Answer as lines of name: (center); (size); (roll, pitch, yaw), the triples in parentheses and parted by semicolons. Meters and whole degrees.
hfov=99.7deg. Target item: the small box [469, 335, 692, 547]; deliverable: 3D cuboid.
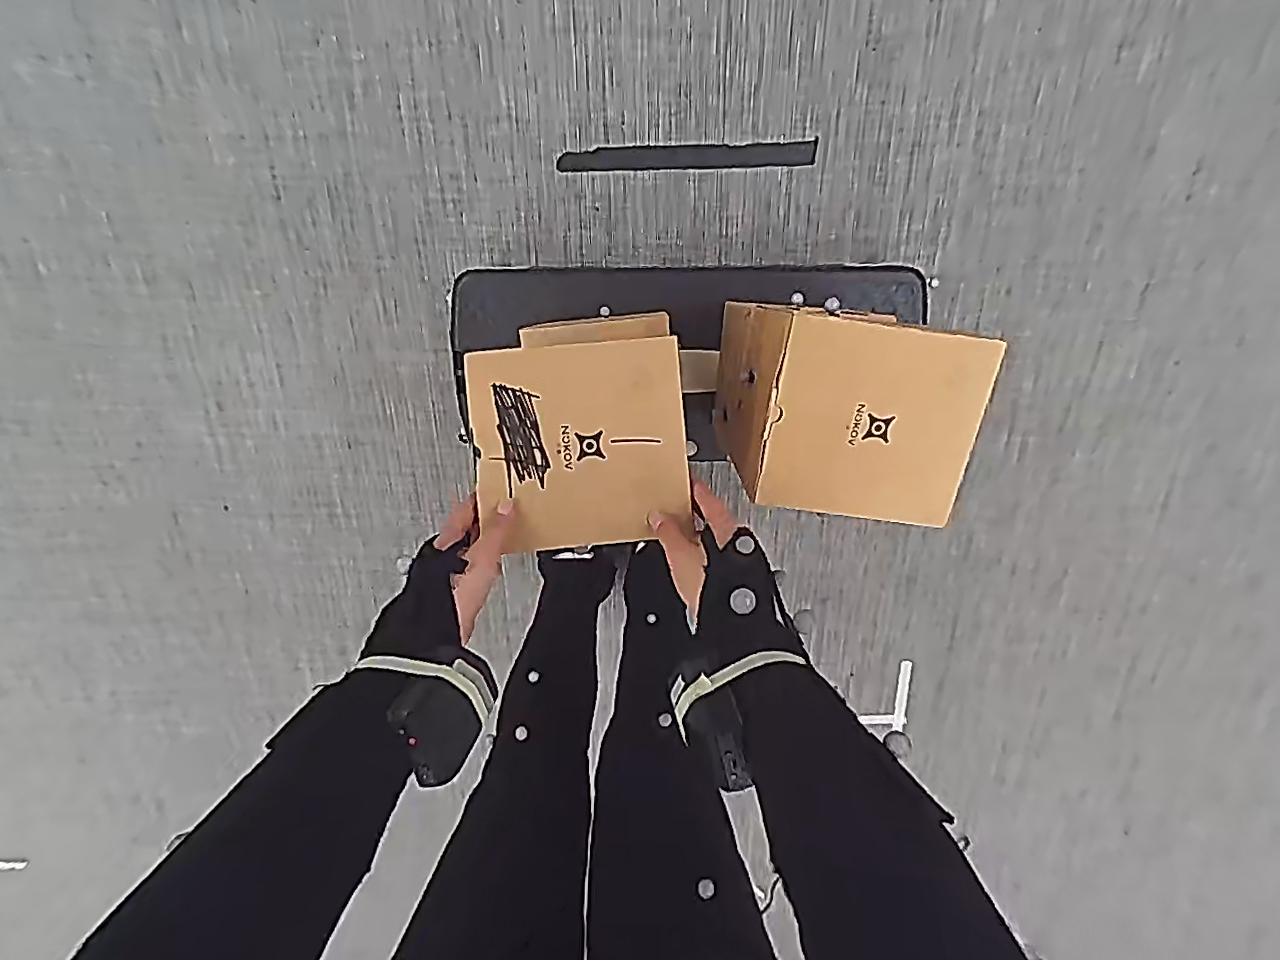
small box: (-0.047, -0.030, 0.520); (0.179, 0.176, 0.168); (-5, 90, 1)

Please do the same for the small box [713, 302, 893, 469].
small box: (0.187, -0.126, 0.681); (0.168, 0.176, 0.179); (4, 109, 0)
